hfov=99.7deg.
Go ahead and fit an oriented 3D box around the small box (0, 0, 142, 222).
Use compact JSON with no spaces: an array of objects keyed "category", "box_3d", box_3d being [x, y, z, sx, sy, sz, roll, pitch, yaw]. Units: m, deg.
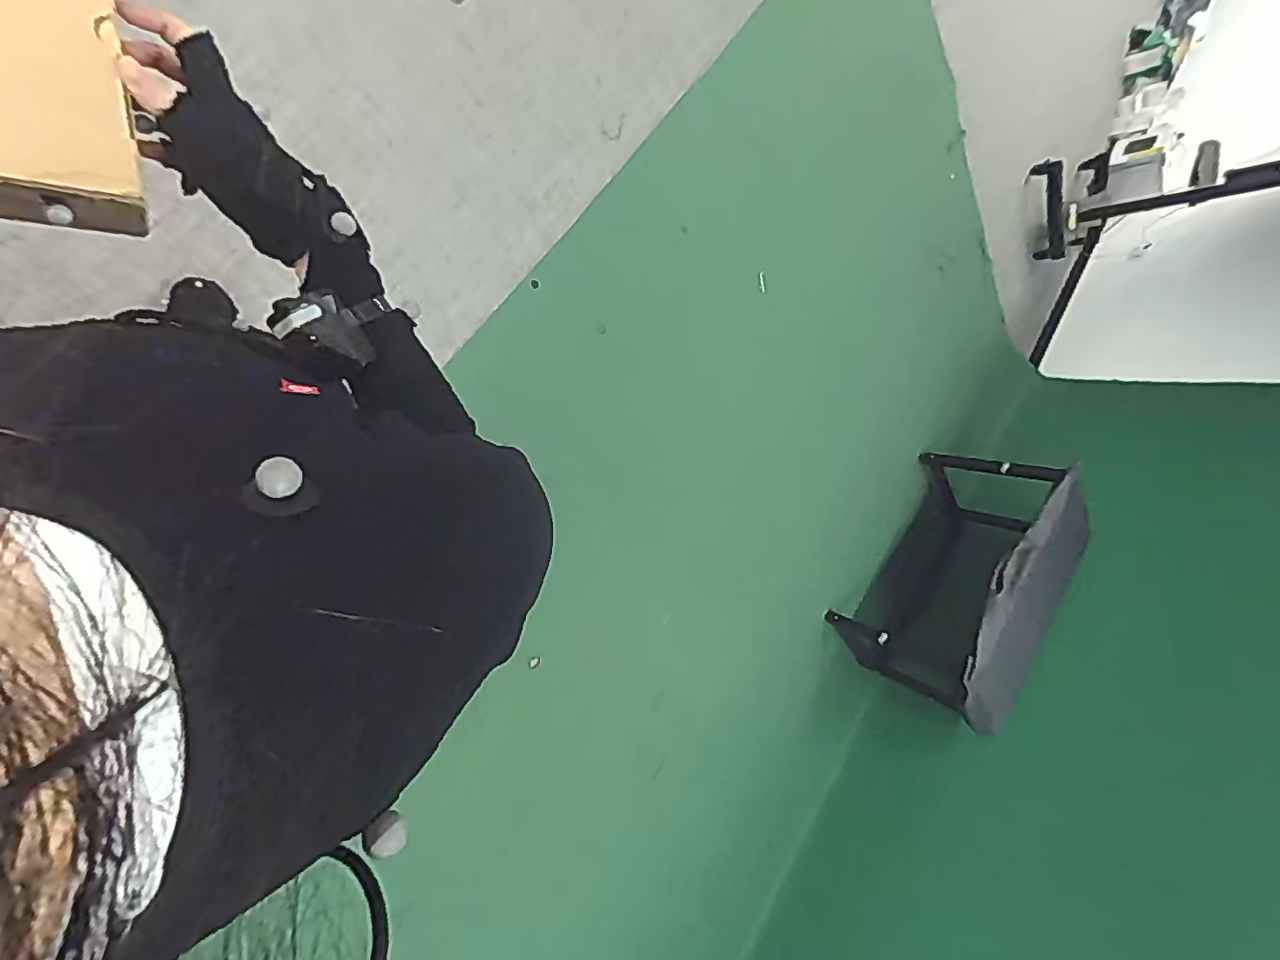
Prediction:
[{"category":"small box","box_3d":[-0.399,-0.250,0.293,0.179,0.176,0.168,-10,108,-41]}]
